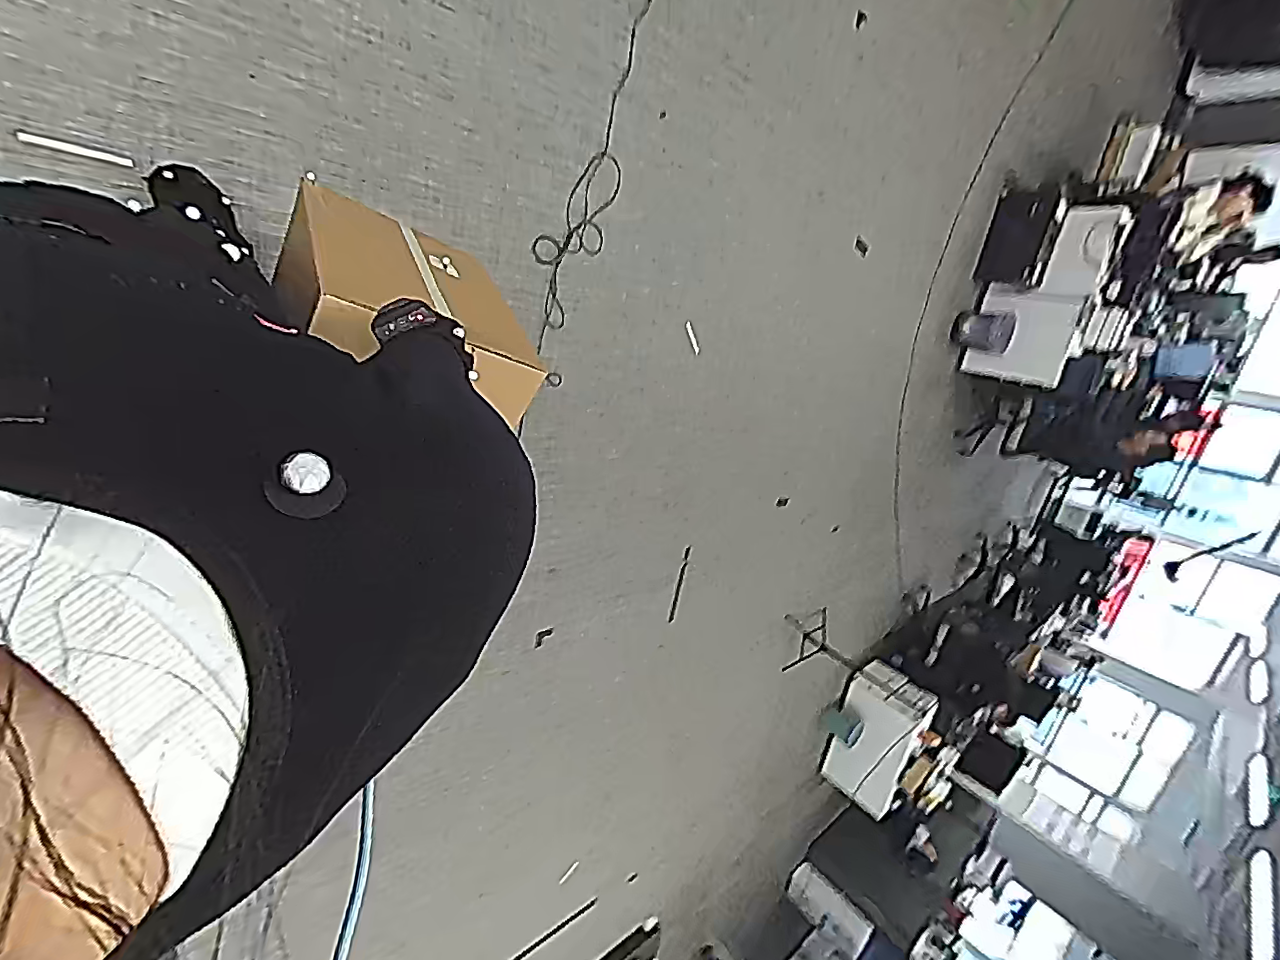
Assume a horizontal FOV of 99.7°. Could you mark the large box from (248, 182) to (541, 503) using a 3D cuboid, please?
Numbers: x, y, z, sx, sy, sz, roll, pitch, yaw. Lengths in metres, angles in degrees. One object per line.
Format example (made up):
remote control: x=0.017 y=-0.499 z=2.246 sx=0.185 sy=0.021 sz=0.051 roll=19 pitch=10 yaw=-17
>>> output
large box: x=-0.430 y=-0.211 z=0.904 sx=0.320 sy=0.408 sz=0.320 roll=13 pitch=122 yaw=-45
